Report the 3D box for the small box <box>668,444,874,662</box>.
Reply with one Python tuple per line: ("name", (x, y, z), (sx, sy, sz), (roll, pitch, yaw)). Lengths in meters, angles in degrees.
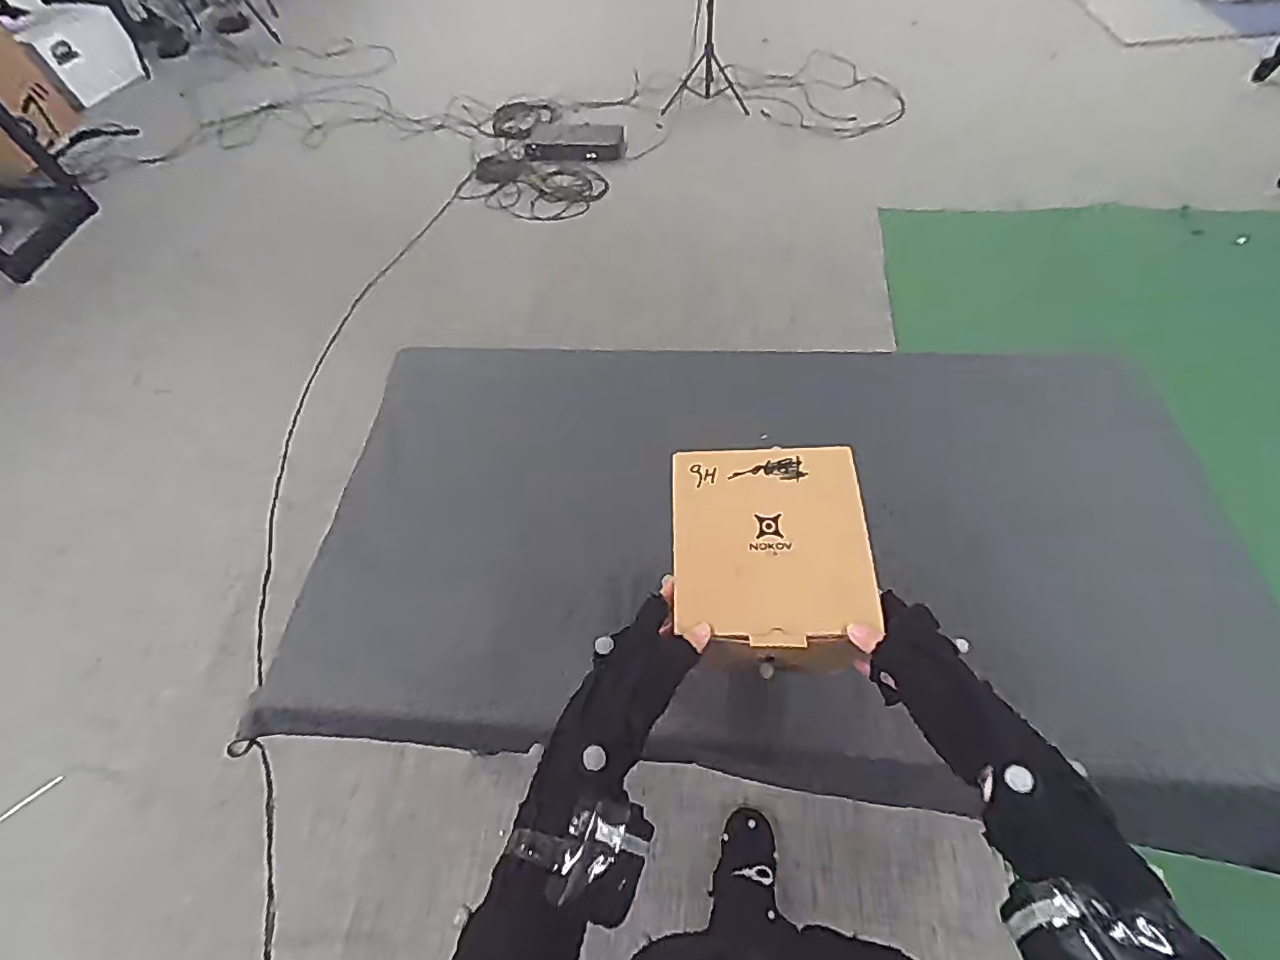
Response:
("small box", (0.116, 0.083, 0.542), (0.168, 0.176, 0.179), (-3, 63, 6))
